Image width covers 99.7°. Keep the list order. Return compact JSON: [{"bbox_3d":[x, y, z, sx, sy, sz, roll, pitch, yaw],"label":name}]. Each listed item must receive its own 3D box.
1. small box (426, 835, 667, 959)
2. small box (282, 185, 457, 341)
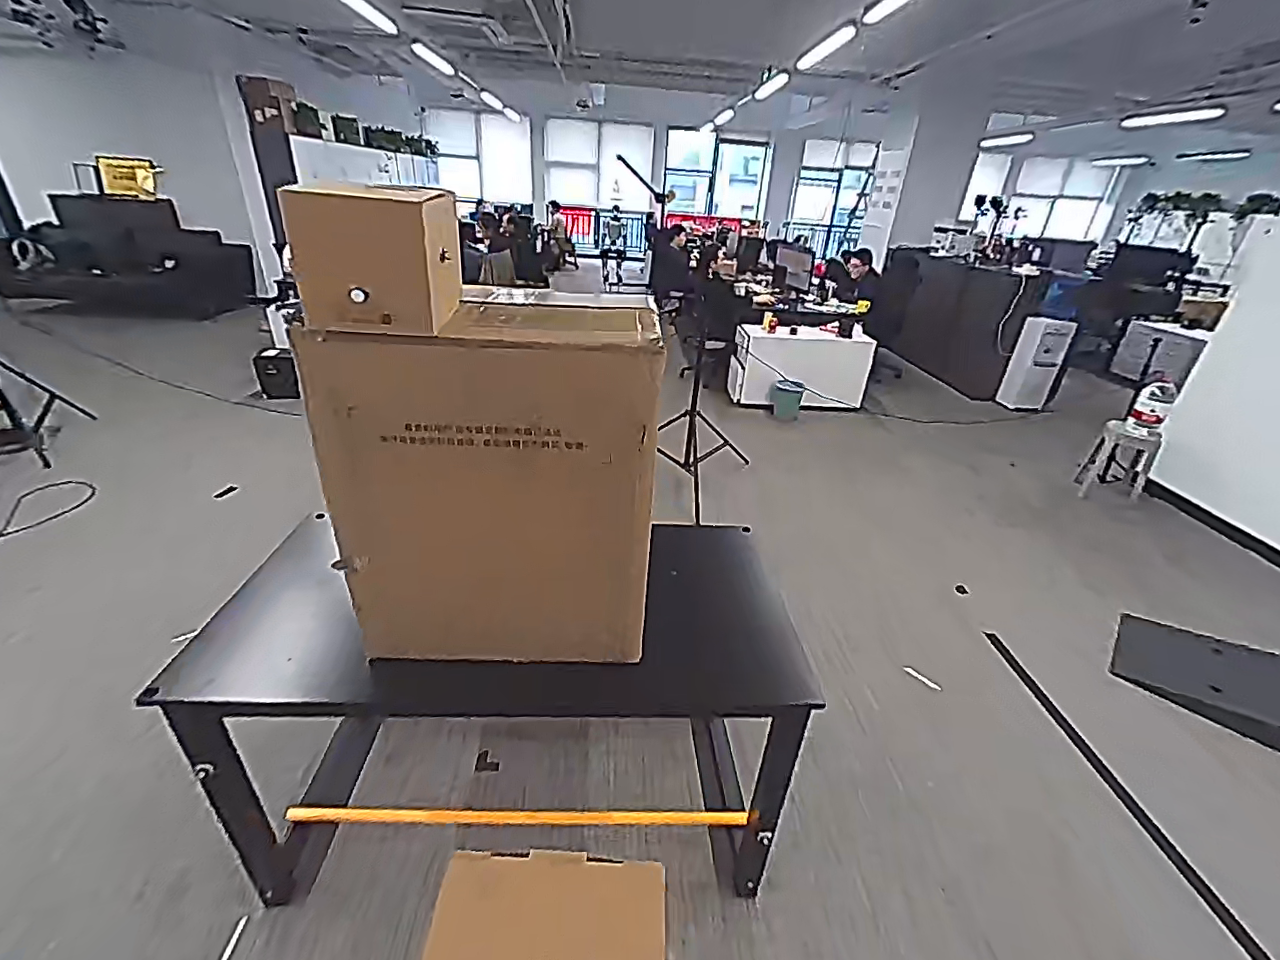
[{"bbox_3d":[-0.070,0.399,0.405,0.168,0.176,0.179,4,39,0],"label":"small box"},{"bbox_3d":[-0.357,-0.305,0.754,0.168,0.176,0.179,1,31,-7],"label":"small box"}]
